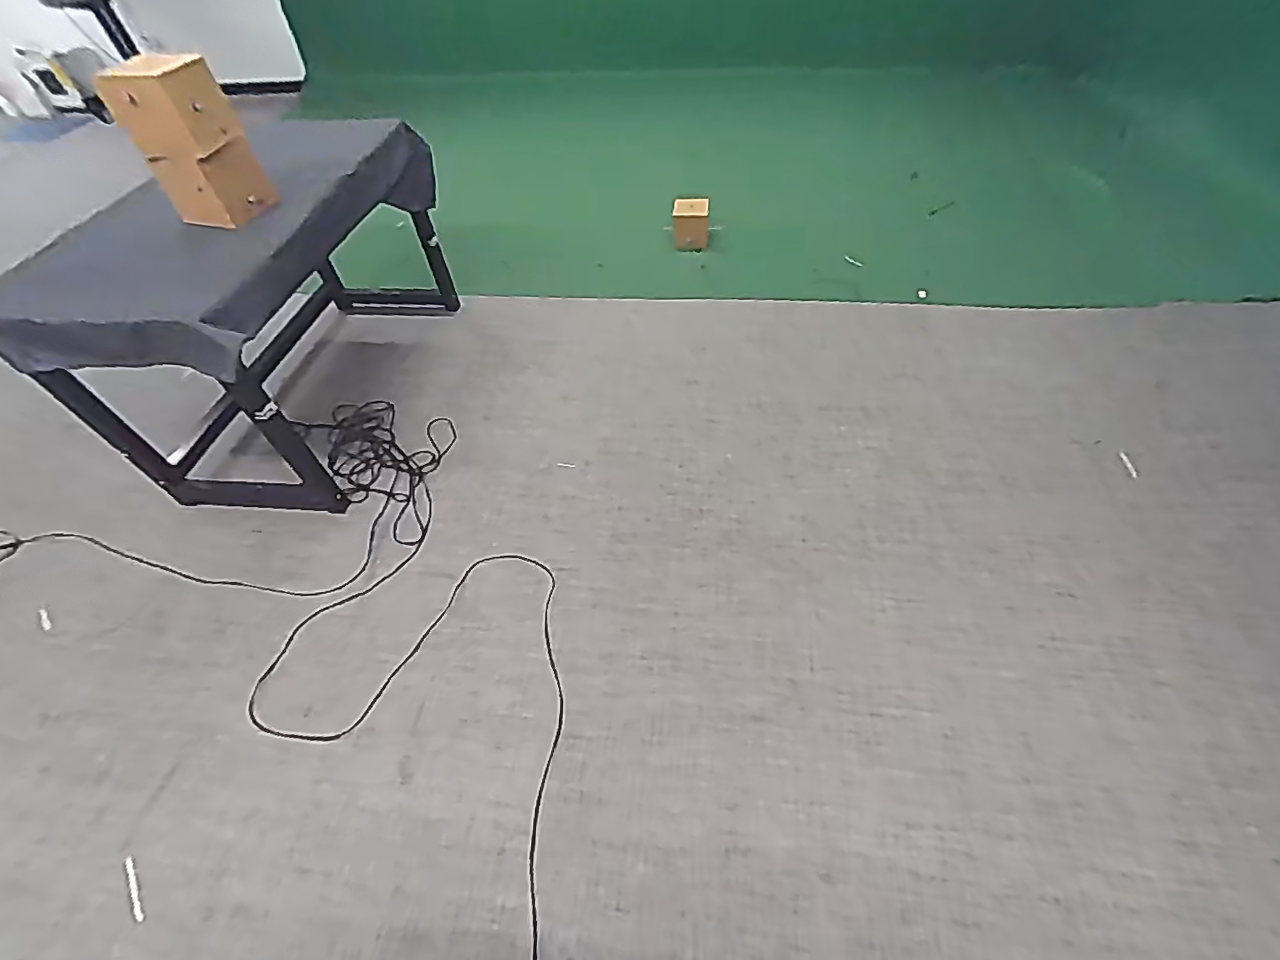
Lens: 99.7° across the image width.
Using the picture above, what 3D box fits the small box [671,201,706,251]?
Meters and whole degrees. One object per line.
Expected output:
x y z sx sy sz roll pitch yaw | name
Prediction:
0.239 -1.255 2.667 0.168 0.176 0.179 2 51 6 | small box

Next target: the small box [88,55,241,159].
-1.112 -0.883 1.286 0.179 0.176 0.168 5 51 7 | small box
